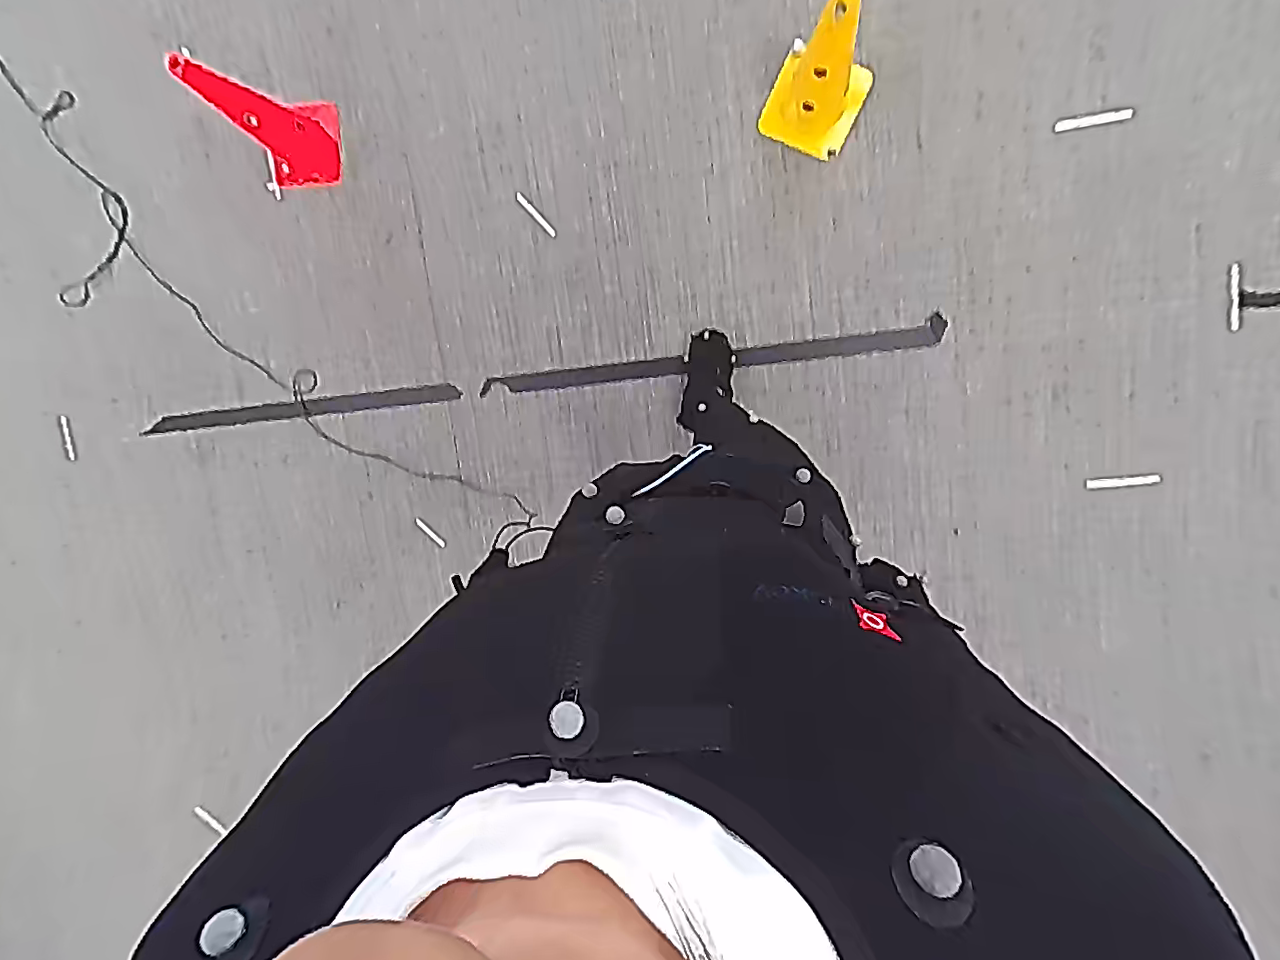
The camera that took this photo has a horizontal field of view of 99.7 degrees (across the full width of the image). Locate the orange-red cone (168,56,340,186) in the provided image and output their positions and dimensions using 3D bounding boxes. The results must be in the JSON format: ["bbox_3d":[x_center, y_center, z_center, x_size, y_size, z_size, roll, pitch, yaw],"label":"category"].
[{"bbox_3d":[-0.910,-0.861,1.262,0.199,0.360,0.198,2,98,7],"label":"orange-red cone"}]
